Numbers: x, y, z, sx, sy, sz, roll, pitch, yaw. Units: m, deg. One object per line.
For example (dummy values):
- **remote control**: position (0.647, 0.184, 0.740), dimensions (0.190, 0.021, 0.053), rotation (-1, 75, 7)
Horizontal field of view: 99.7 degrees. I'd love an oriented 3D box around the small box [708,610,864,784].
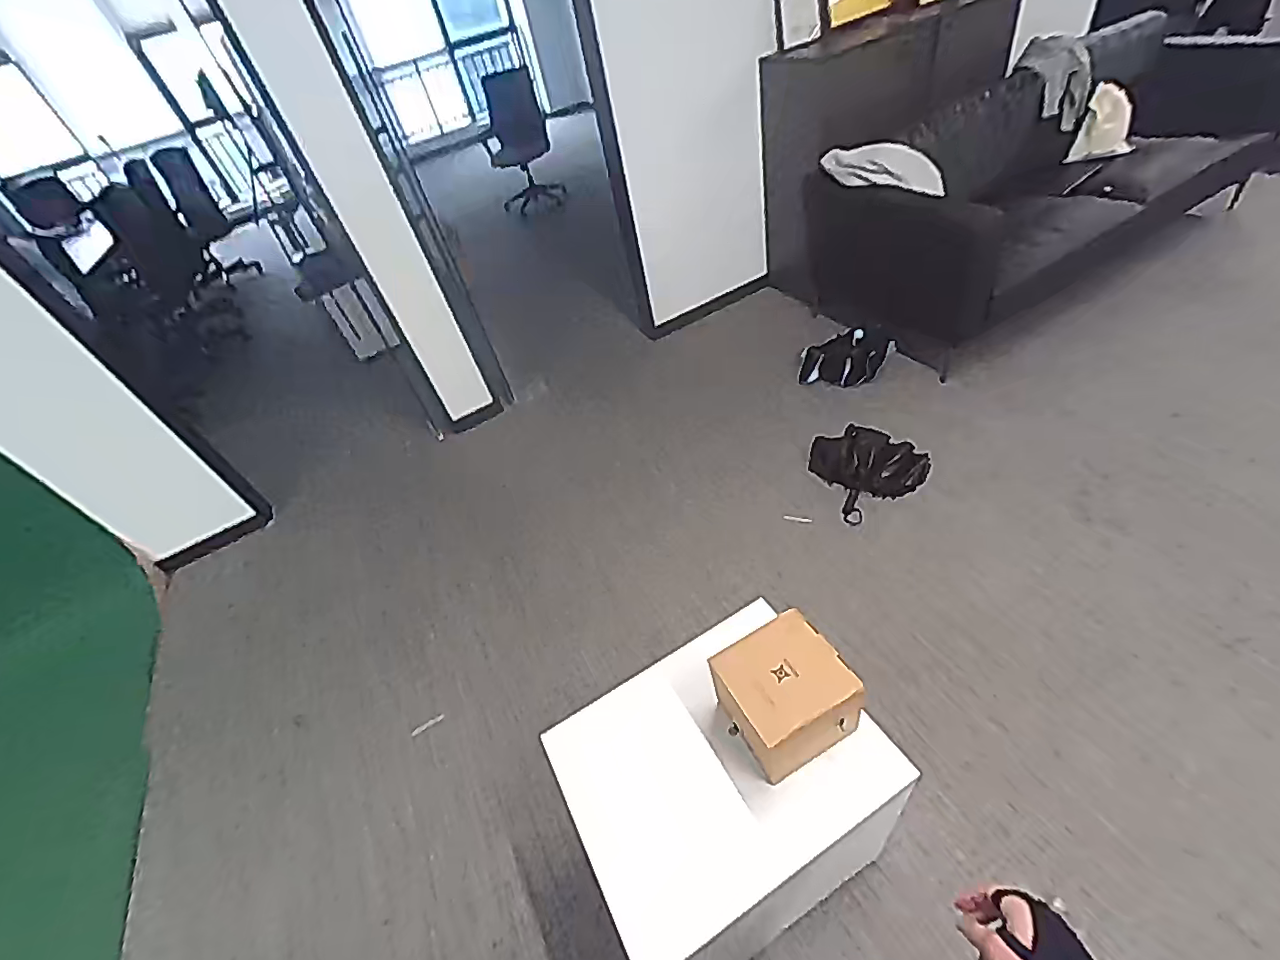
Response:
- **small box**: position (0.233, 0.352, 0.878), dimensions (0.179, 0.176, 0.168), rotation (-28, 44, -11)
